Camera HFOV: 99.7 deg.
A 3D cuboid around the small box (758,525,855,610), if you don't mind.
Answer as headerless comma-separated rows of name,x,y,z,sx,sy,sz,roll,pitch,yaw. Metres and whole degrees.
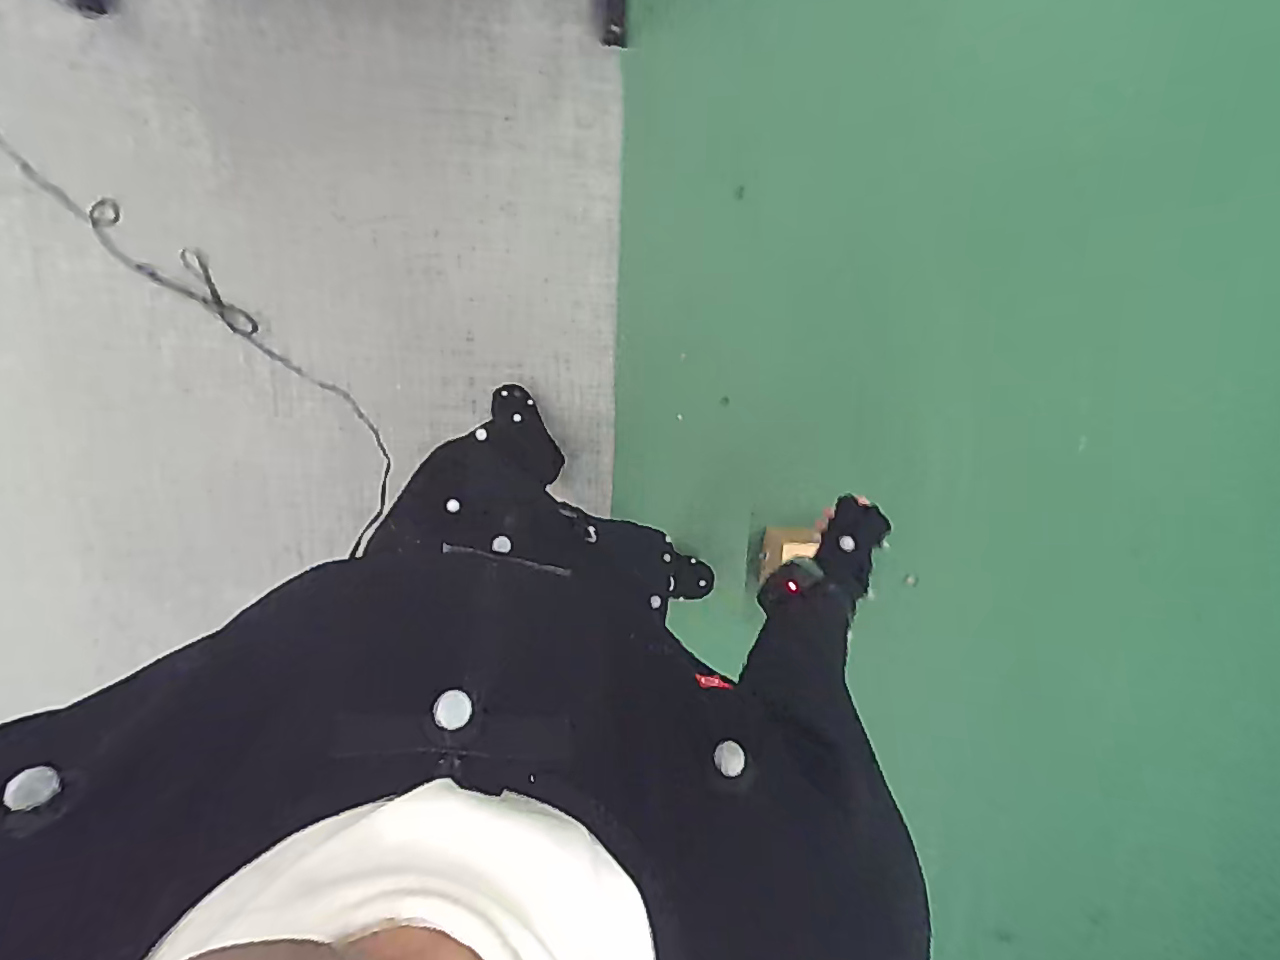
small box,0.416,0.217,1.375,0.179,0.176,0.168,5,98,-4
